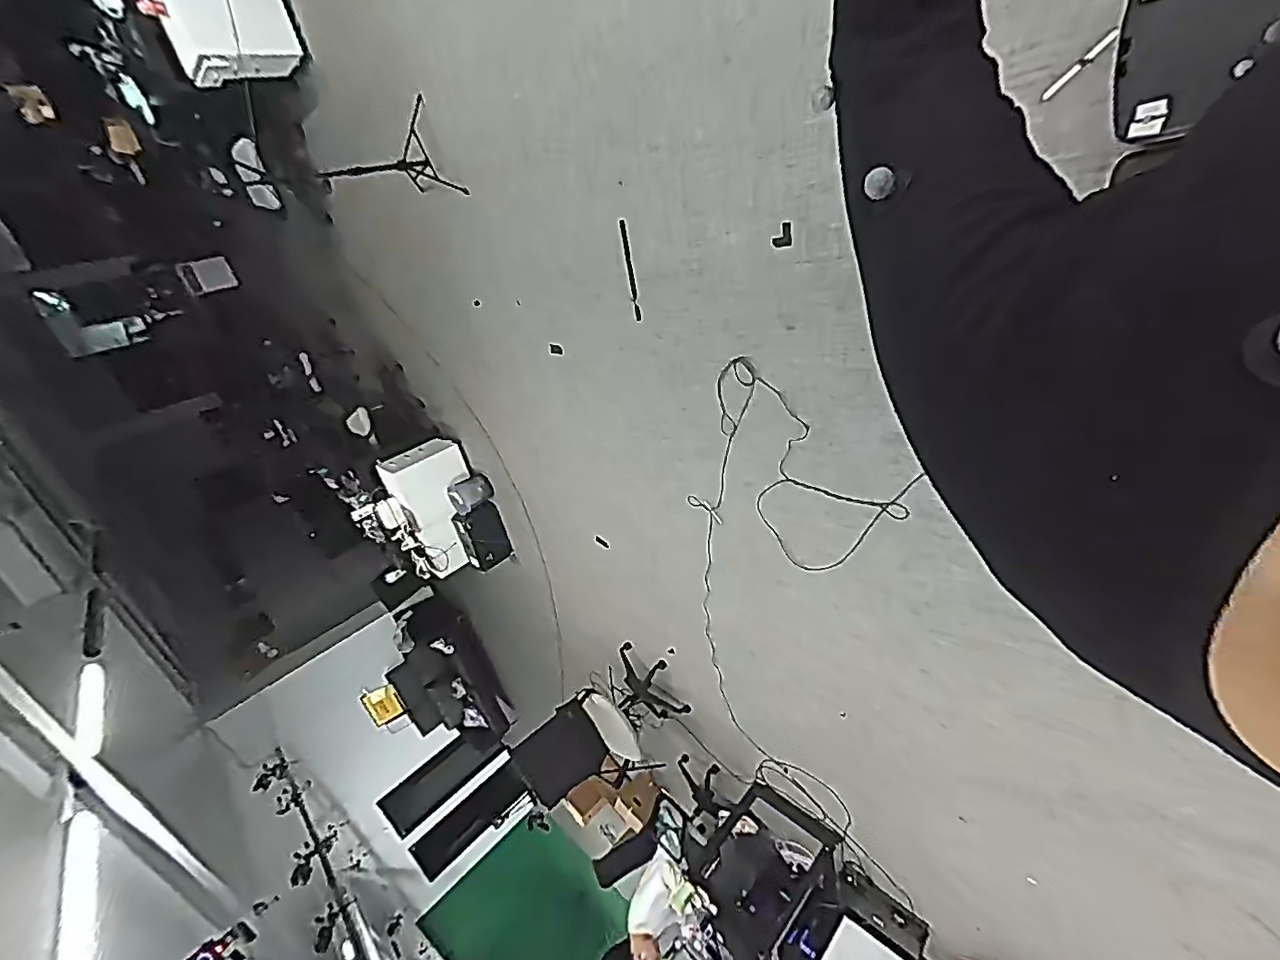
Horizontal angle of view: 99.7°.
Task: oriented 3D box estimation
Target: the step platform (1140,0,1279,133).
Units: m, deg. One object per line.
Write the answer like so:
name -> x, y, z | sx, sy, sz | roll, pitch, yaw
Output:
step platform -> 1.142, -0.719, 0.731 | 0.684, 0.204, 0.286 | 13, 127, 45
